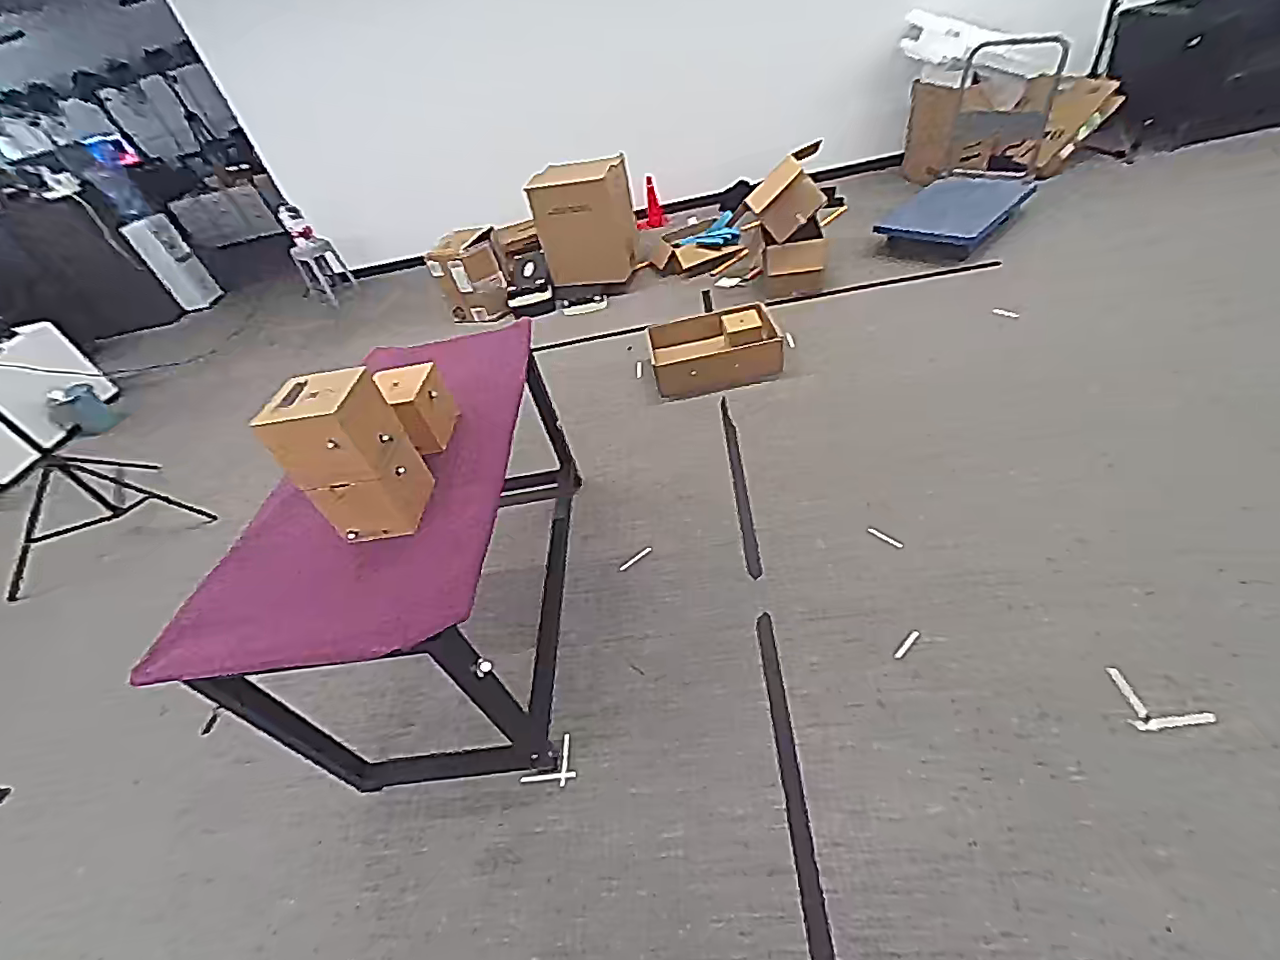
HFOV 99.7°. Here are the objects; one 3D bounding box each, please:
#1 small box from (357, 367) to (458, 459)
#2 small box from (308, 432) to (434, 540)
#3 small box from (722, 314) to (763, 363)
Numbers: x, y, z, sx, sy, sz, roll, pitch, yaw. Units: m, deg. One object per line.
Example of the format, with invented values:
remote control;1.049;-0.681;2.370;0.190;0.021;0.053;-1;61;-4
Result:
small box;-0.601;-0.172;1.428;0.168;0.176;0.179;-8;43;8
small box;-0.591;0.020;1.217;0.168;0.176;0.179;-8;42;7
small box;0.508;-0.696;2.680;0.168;0.176;0.179;-11;41;4
